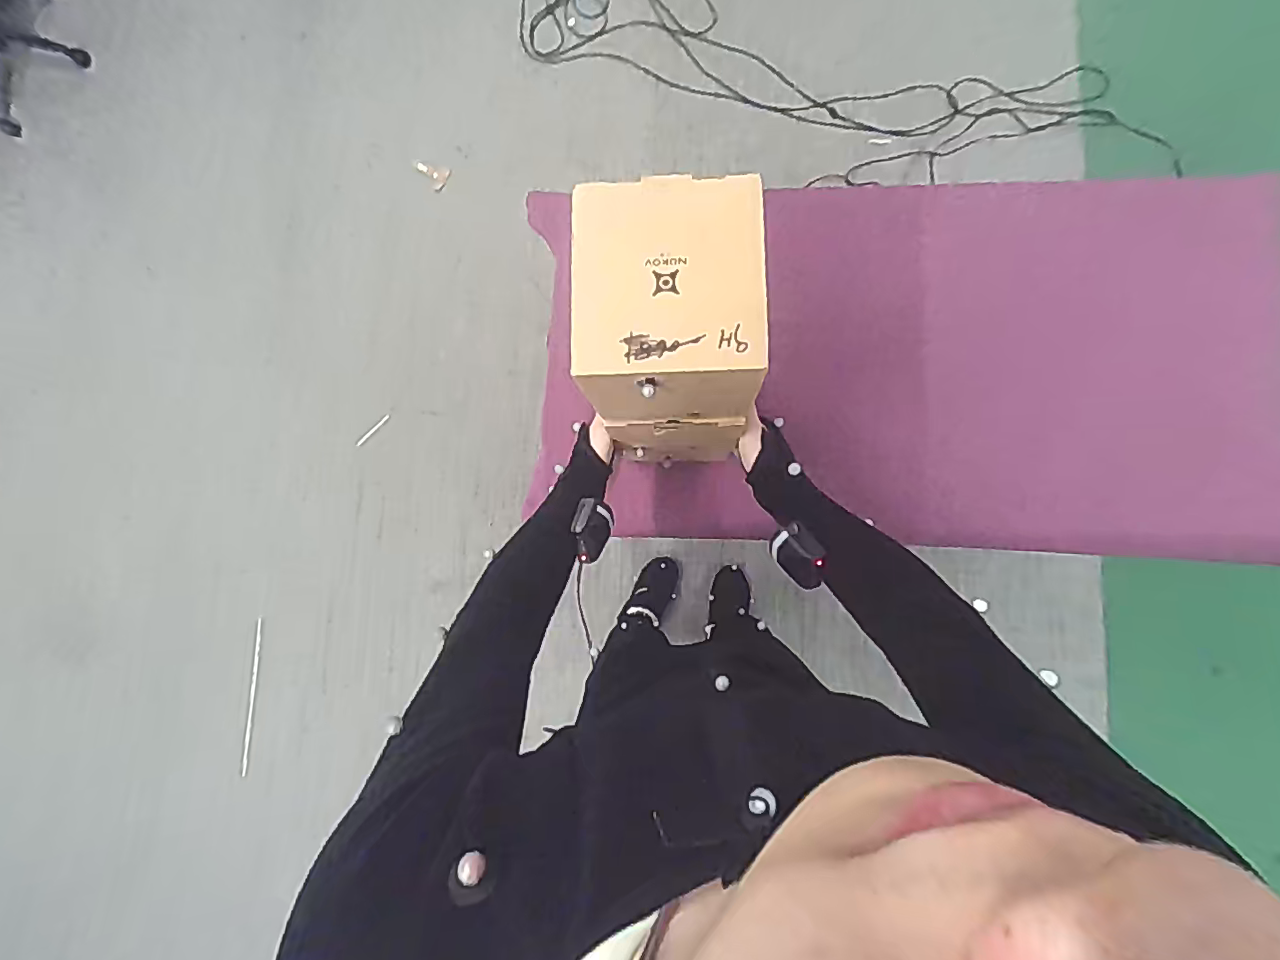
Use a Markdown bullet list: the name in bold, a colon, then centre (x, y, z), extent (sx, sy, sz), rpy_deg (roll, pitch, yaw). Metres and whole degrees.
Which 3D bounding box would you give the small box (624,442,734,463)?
- **small box**: centre (0.060, -0.127, 0.857), extent (0.168, 0.176, 0.179), rpy_deg (0, 84, 6)

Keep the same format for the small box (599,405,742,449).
- **small box**: centre (0.045, -0.137, 0.694), extent (0.168, 0.176, 0.179), rpy_deg (0, 82, 6)

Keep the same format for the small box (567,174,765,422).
- **small box**: centre (0.029, -0.163, 0.533), extent (0.168, 0.176, 0.179), rpy_deg (-1, 82, 6)
